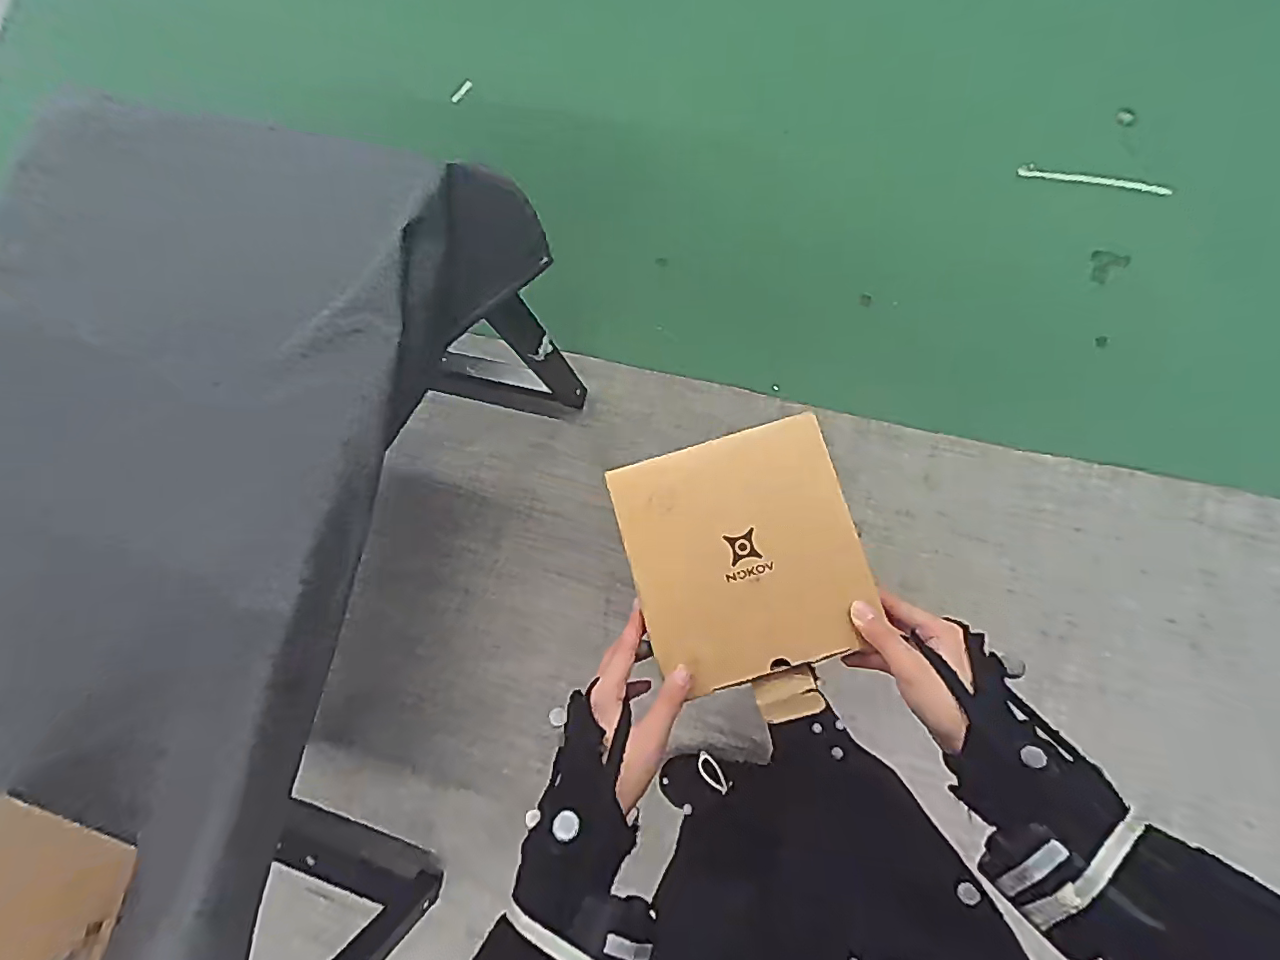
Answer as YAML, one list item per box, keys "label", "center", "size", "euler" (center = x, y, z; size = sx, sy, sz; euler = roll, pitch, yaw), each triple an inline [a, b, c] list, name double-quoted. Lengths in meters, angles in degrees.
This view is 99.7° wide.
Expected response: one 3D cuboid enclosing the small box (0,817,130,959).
- label: "small box"
  center: [-0.586, 0.404, 0.431]
  size: [0.179, 0.176, 0.168]
  euler: [12, 81, 10]
